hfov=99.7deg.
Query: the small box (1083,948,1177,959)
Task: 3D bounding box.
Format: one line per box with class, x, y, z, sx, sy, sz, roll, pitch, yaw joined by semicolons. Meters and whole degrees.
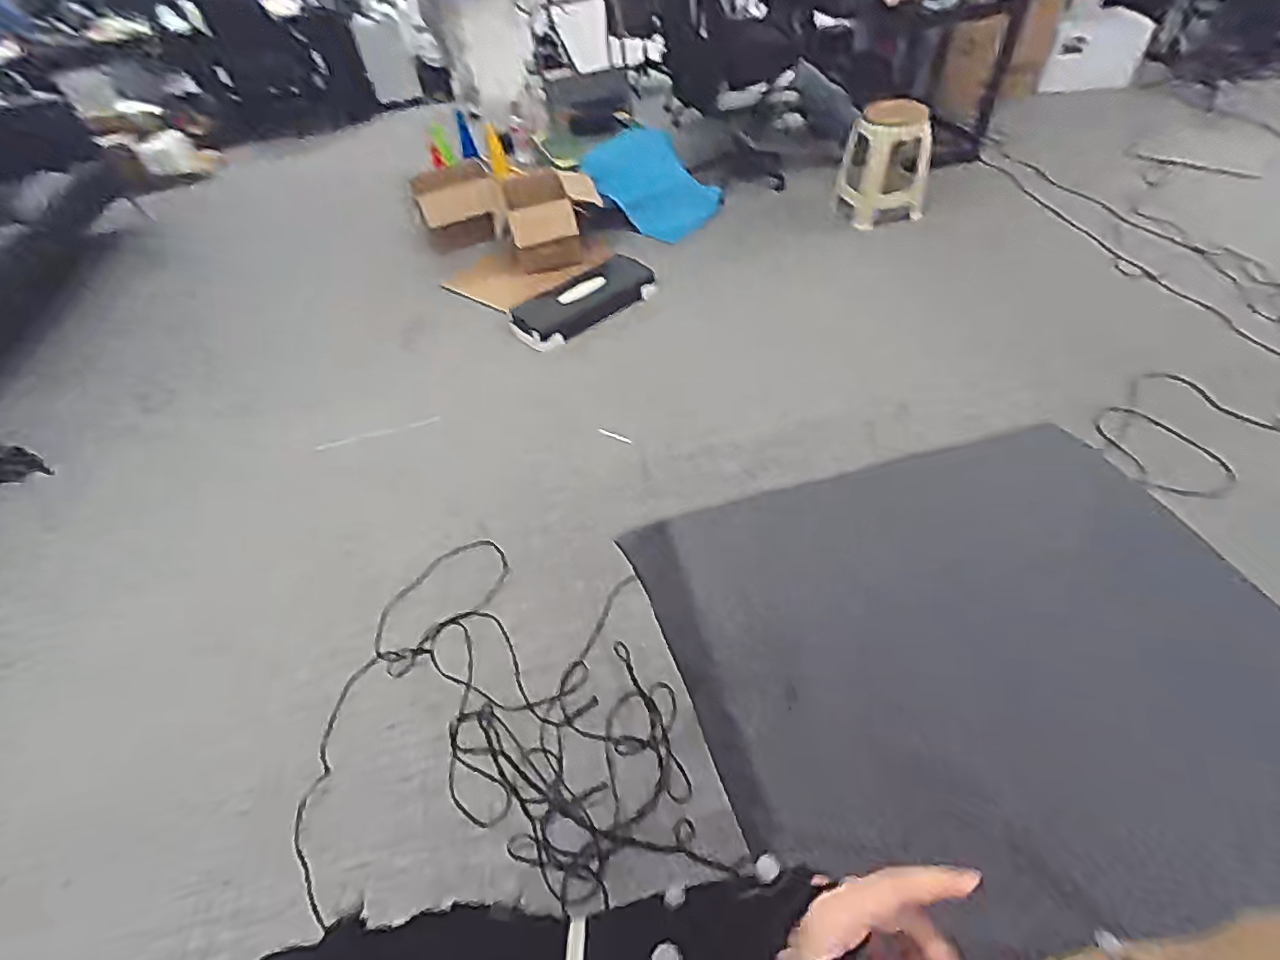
small box;0.329;0.407;0.323;0.168;0.176;0.179;-12;49;-4
